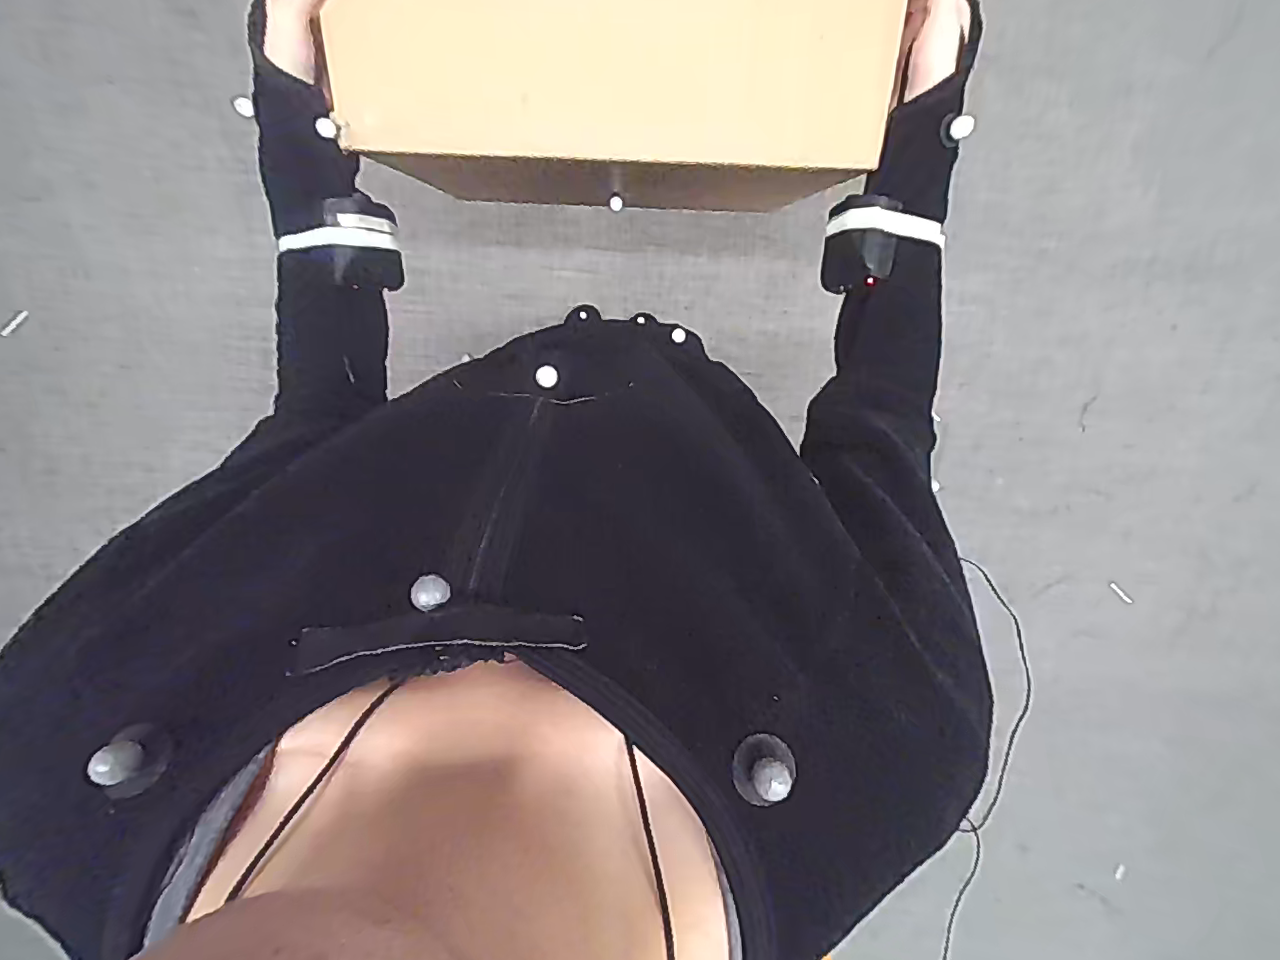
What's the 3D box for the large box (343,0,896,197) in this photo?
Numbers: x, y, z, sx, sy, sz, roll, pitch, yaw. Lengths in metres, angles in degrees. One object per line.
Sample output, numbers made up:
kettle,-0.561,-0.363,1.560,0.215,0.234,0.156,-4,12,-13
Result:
large box,-0.013,-0.451,0.503,0.408,0.320,0.320,1,111,-2
